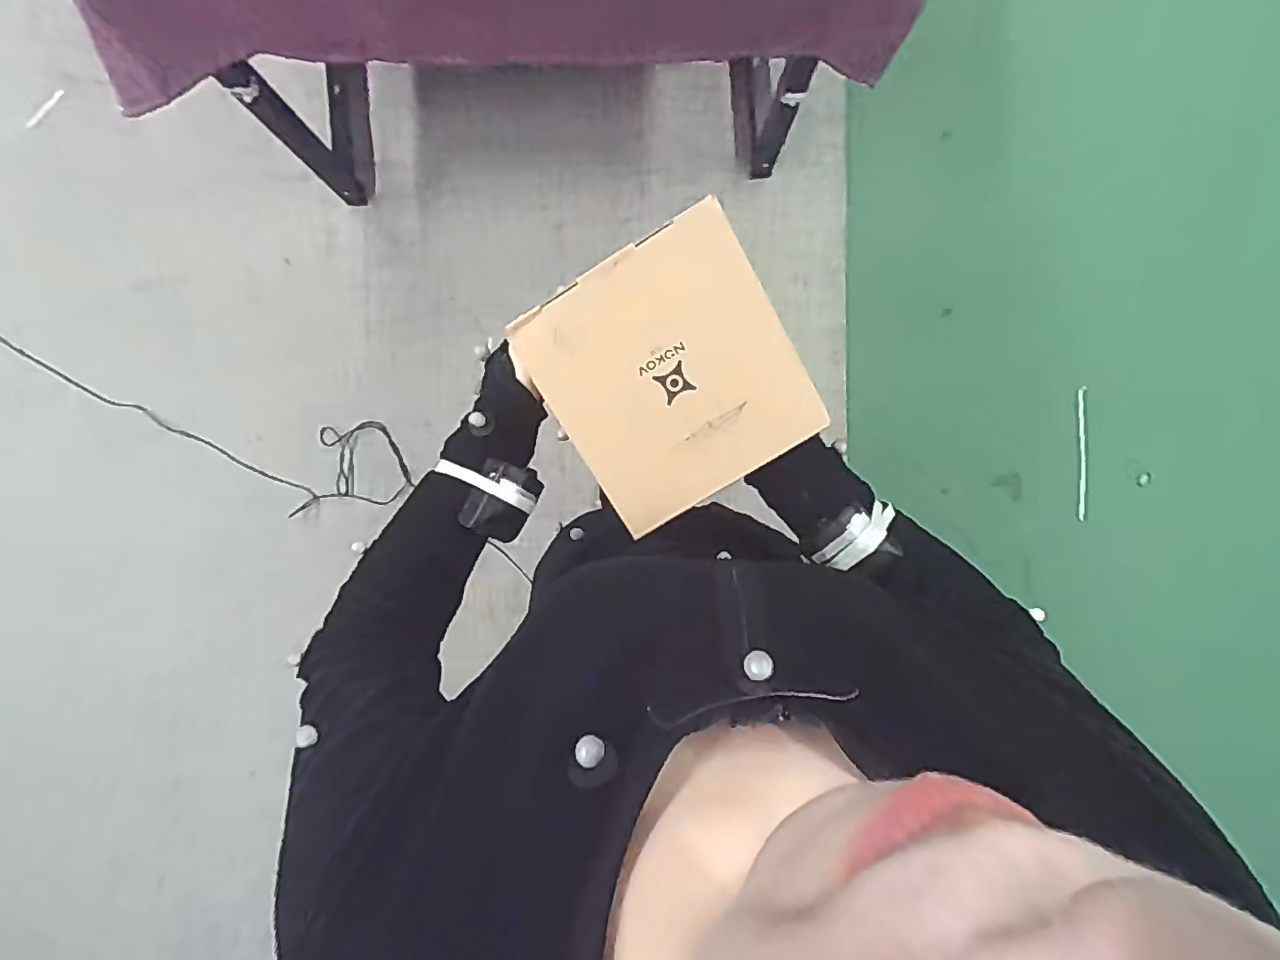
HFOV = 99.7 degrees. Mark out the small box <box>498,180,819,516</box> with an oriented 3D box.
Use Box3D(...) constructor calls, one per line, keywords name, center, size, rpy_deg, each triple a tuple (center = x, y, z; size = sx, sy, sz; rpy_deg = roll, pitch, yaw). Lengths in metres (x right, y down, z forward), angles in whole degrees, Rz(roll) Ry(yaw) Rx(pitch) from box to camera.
Box3D(name="small box", center=(0.012, -0.100, 0.450), size=(0.168, 0.176, 0.179), rpy_deg=(-31, 102, 5))
